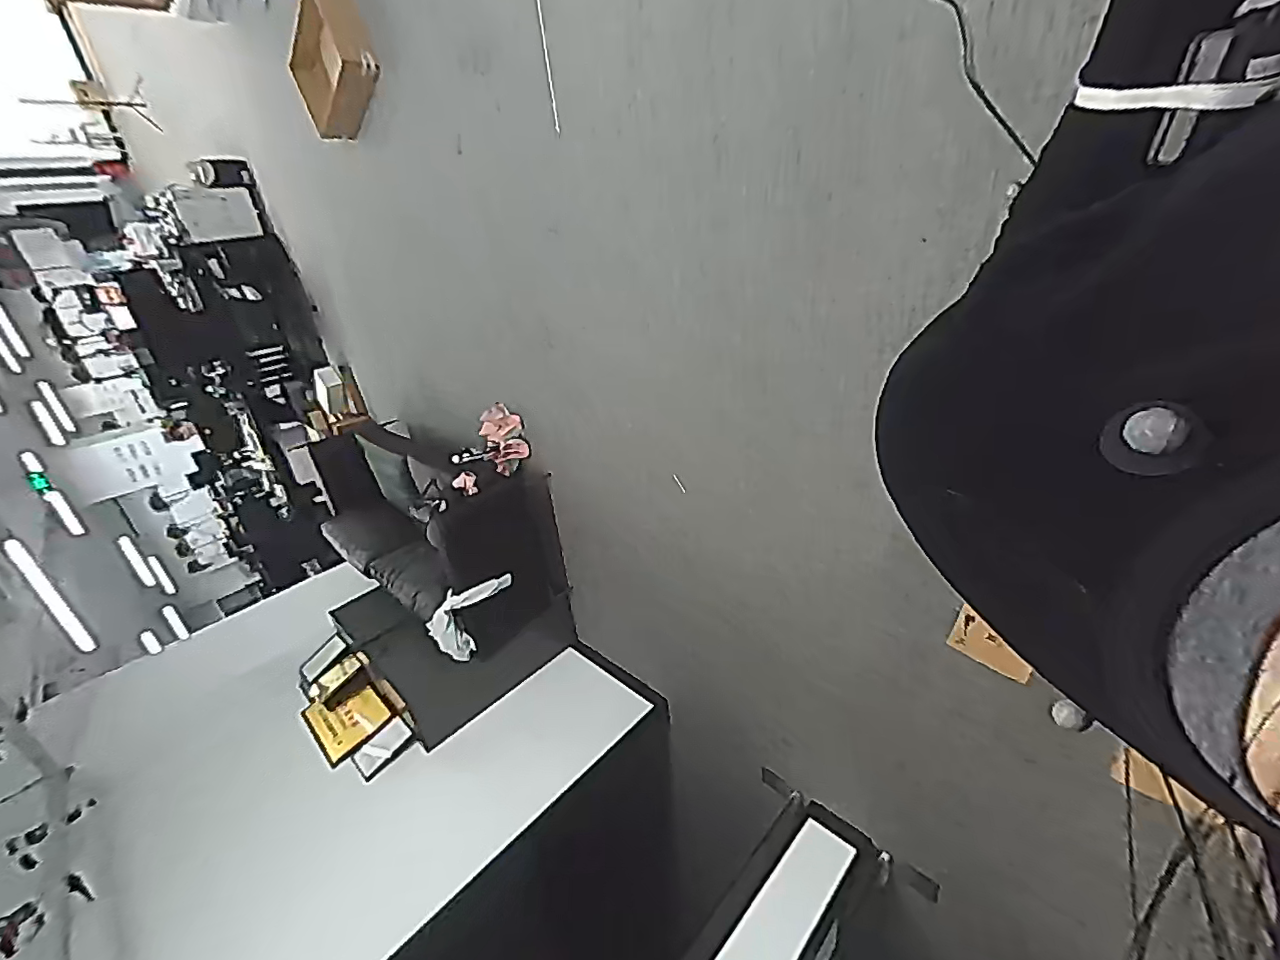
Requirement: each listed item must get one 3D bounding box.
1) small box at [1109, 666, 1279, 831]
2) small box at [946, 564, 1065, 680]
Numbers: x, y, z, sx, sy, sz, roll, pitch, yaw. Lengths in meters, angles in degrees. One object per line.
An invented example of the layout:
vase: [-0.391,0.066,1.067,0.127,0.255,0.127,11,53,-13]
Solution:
small box: [0.991,0.467,0.974,0.179,0.176,0.168,17,125,41]
small box: [0.874,0.330,1.291,0.179,0.176,0.168,27,131,34]
